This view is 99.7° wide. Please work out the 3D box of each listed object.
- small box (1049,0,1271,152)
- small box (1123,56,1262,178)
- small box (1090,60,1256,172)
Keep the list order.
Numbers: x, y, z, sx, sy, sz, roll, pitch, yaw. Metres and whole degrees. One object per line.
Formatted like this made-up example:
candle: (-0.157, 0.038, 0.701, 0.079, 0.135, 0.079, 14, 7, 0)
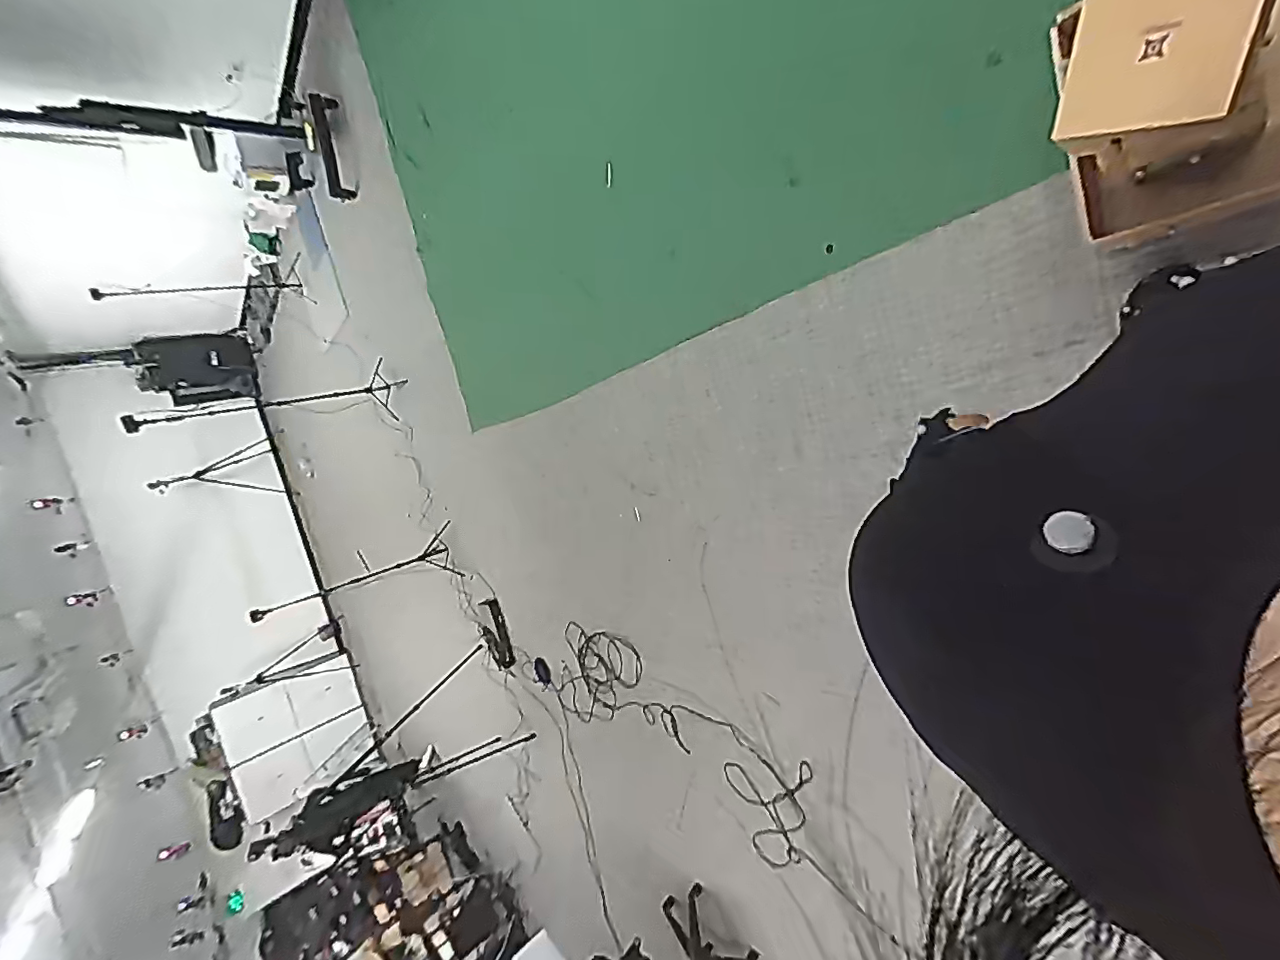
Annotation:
small box: (0.651, -0.526, 0.679, 0.168, 0.176, 0.179, 20, 118, 41)
small box: (0.881, -0.628, 0.888, 0.168, 0.176, 0.179, -12, 96, 49)
small box: (0.763, -0.575, 0.787, 0.168, 0.176, 0.179, -10, 97, 48)
